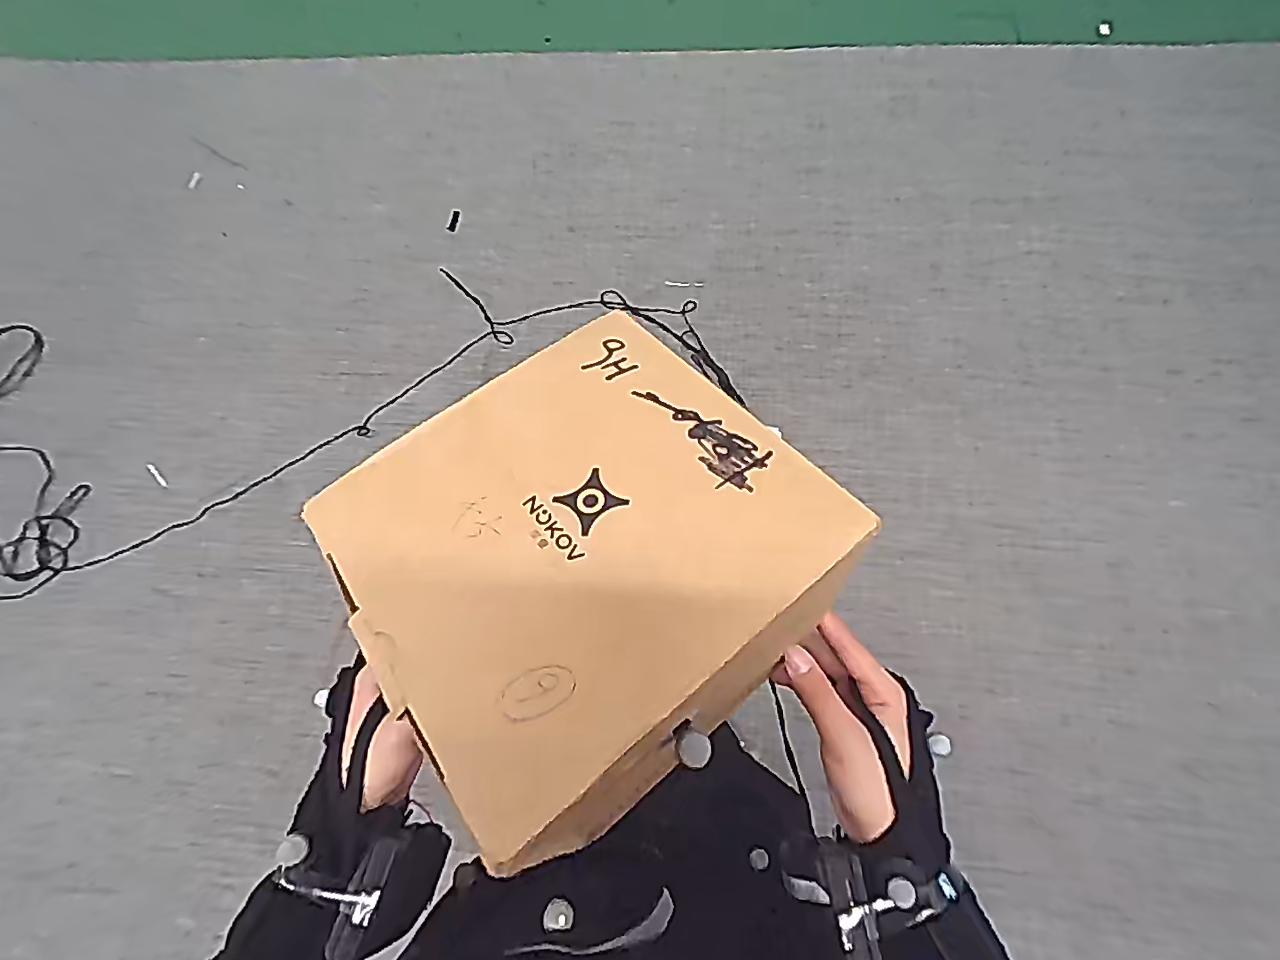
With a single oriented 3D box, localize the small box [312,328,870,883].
[{"bbox_3d":[-0.018,0.064,0.284,0.179,0.176,0.168,-37,61,-15],"label":"small box"}]
